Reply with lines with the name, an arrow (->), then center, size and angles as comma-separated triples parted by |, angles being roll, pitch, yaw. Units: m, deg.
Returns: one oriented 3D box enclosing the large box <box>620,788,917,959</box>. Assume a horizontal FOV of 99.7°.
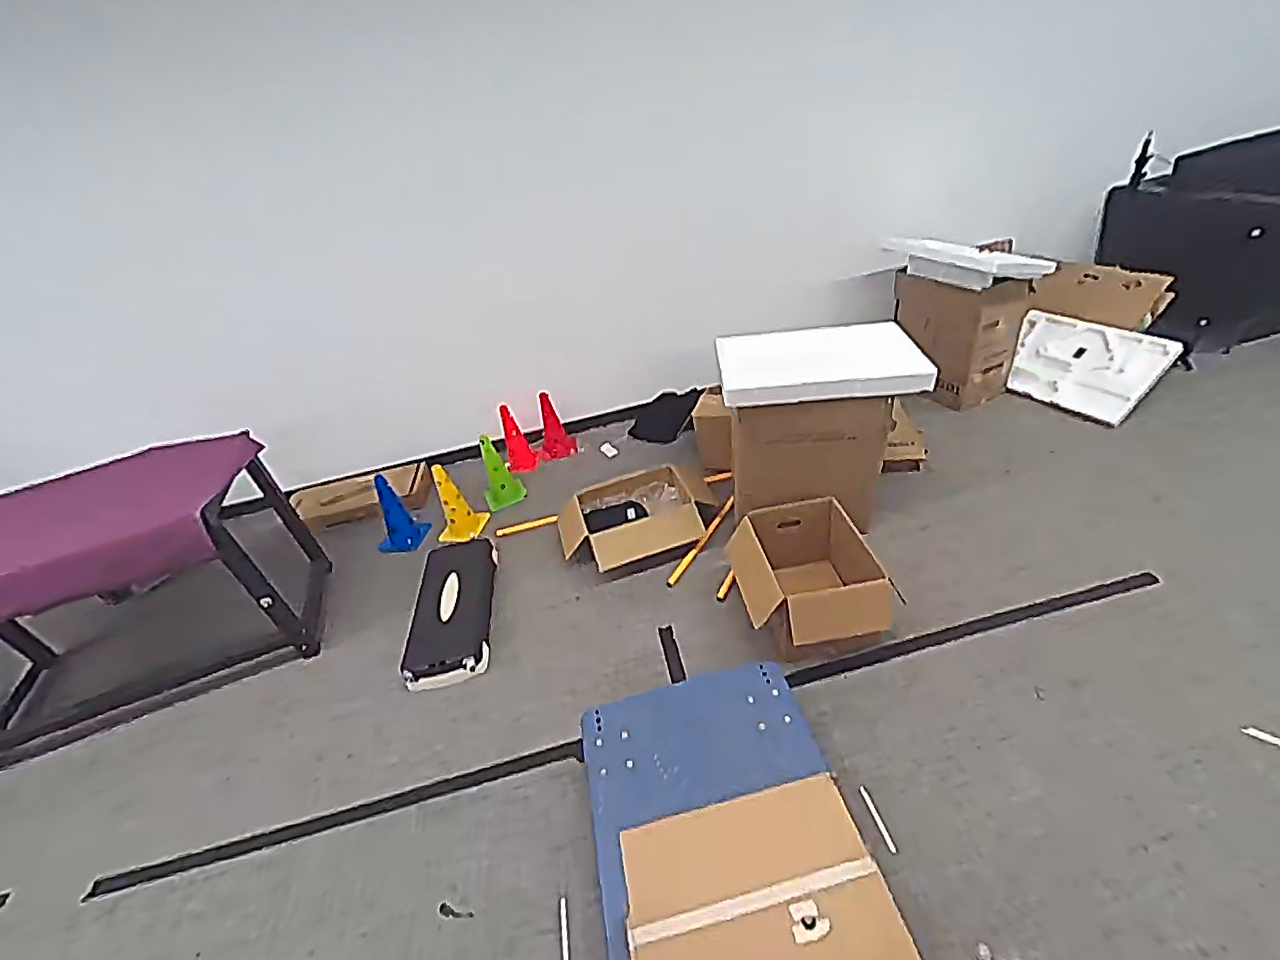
large box -> 0.204, 0.804, 0.917 | 0.408, 0.320, 0.320 | -13, 34, -5
